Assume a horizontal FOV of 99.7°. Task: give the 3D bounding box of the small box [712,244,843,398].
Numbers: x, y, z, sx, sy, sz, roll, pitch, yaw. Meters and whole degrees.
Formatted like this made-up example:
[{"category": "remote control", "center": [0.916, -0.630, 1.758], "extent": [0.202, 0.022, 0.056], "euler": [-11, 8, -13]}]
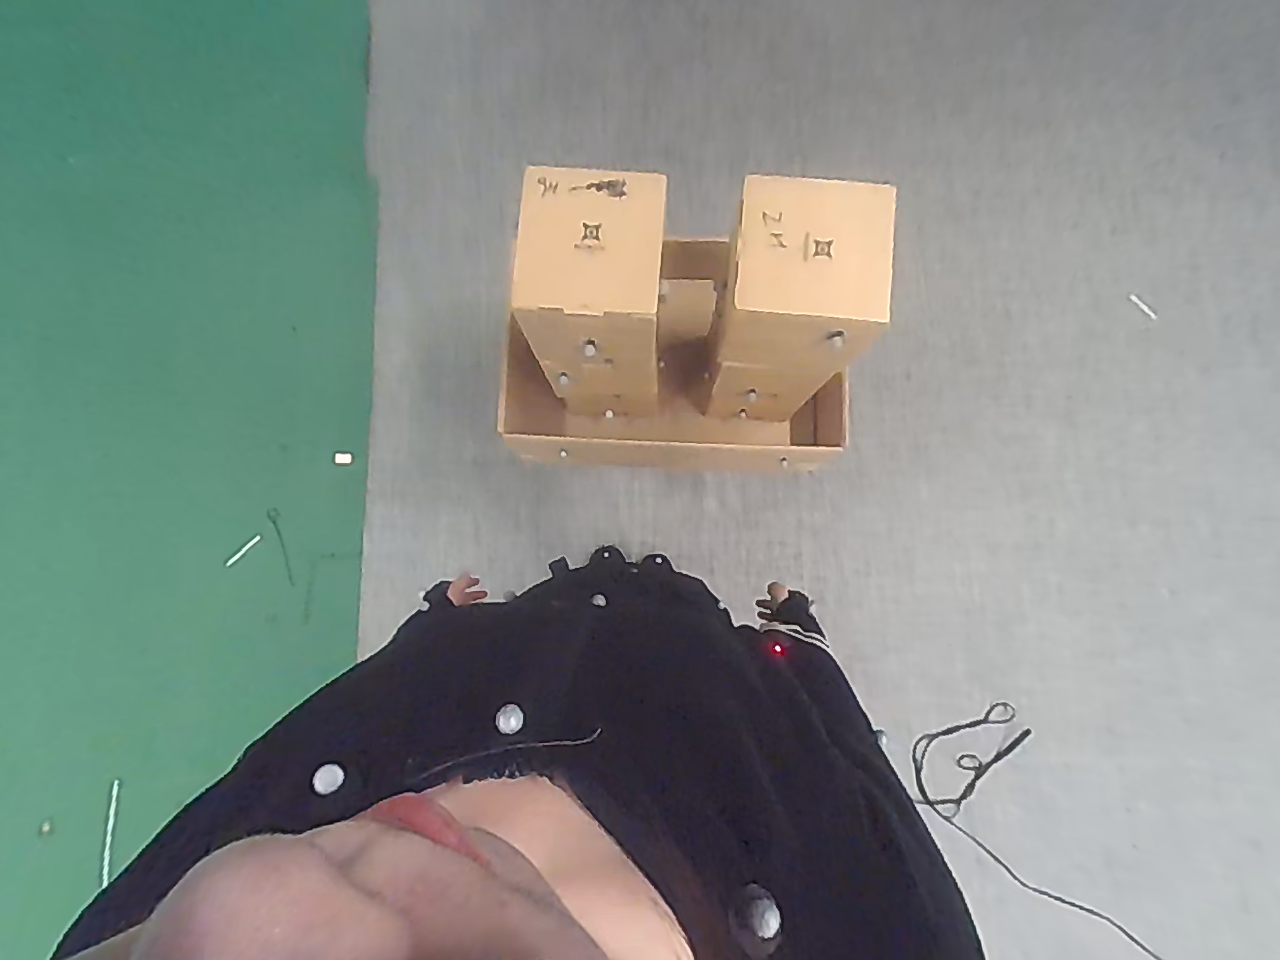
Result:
[{"category": "small box", "center": [0.206, -0.240, 0.848], "extent": [0.168, 0.176, 0.179], "euler": [5, 84, 3]}]
